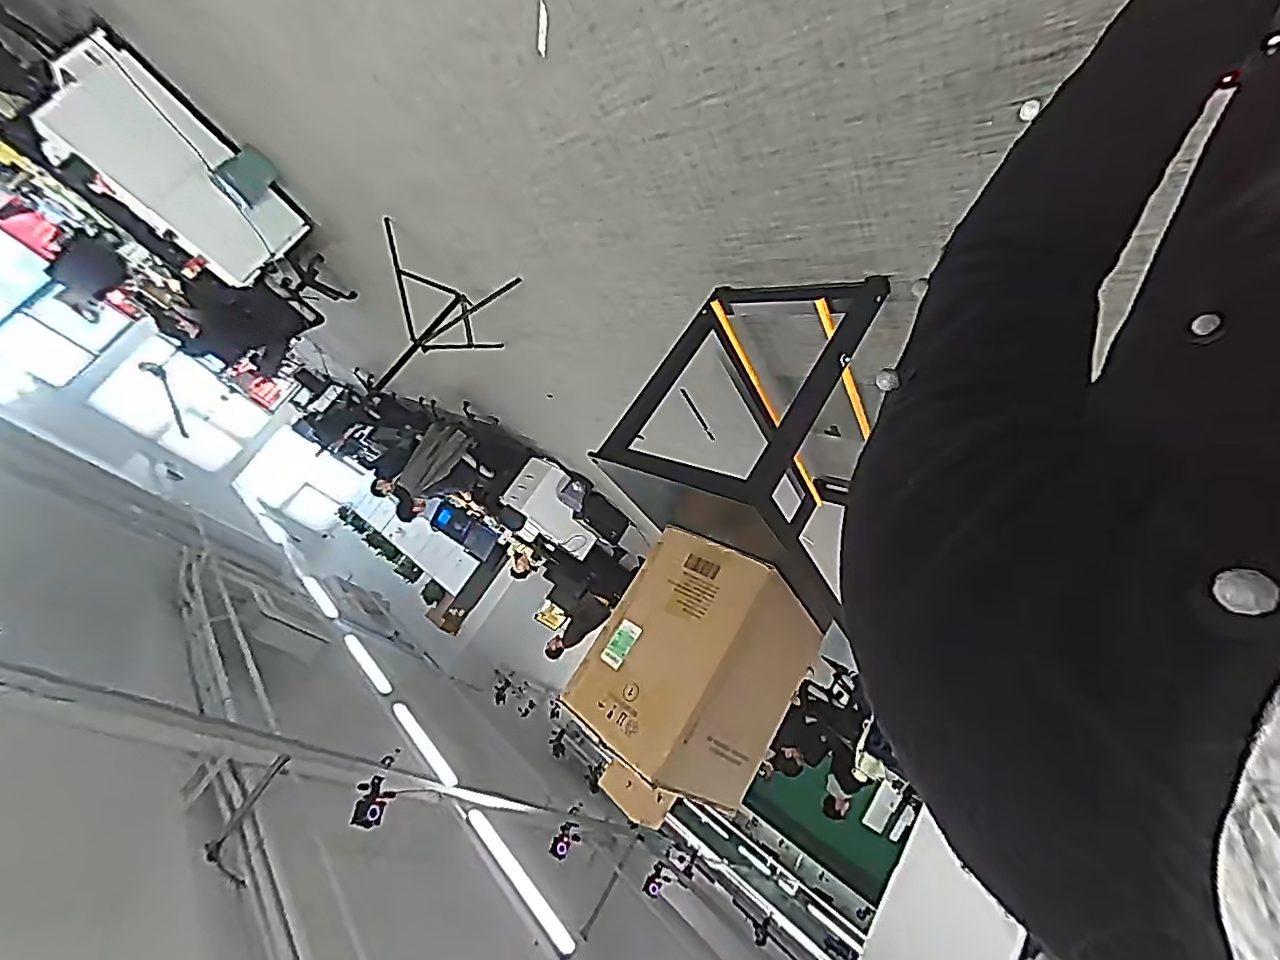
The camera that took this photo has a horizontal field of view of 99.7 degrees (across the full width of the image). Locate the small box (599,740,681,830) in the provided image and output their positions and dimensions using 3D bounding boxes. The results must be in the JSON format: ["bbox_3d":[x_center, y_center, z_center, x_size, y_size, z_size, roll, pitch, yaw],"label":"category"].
[{"bbox_3d":[0.009,0.977,1.740,0.179,0.176,0.168,18,157,49],"label":"small box"}]
